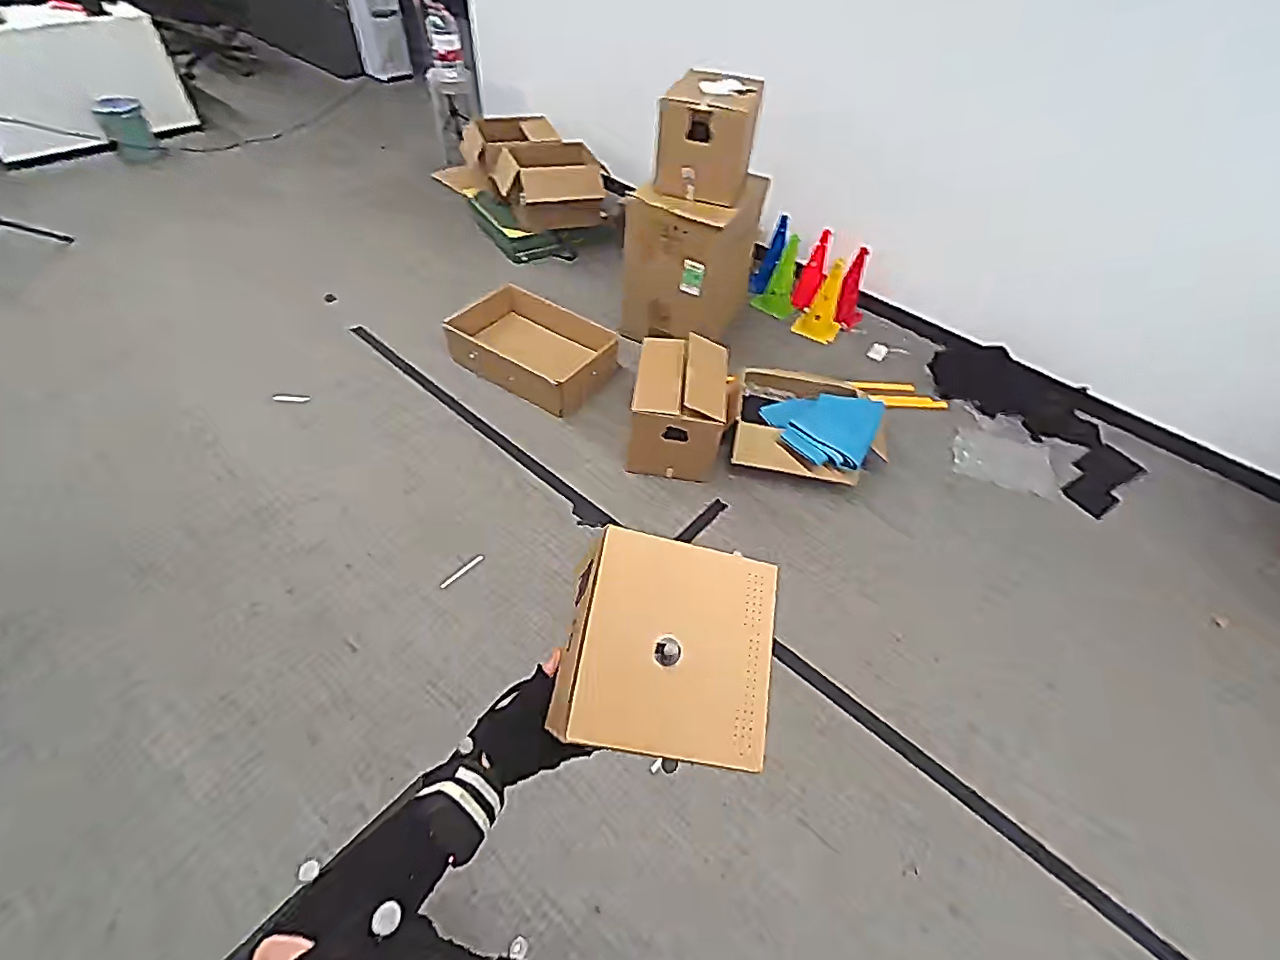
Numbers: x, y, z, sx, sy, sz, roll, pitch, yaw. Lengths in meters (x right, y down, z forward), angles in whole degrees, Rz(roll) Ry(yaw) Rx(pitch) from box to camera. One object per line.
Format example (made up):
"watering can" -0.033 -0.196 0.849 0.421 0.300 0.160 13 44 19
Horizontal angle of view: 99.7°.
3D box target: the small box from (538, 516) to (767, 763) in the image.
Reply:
"small box" 0.009 0.155 0.519 0.176 0.168 0.179 13 67 -10
